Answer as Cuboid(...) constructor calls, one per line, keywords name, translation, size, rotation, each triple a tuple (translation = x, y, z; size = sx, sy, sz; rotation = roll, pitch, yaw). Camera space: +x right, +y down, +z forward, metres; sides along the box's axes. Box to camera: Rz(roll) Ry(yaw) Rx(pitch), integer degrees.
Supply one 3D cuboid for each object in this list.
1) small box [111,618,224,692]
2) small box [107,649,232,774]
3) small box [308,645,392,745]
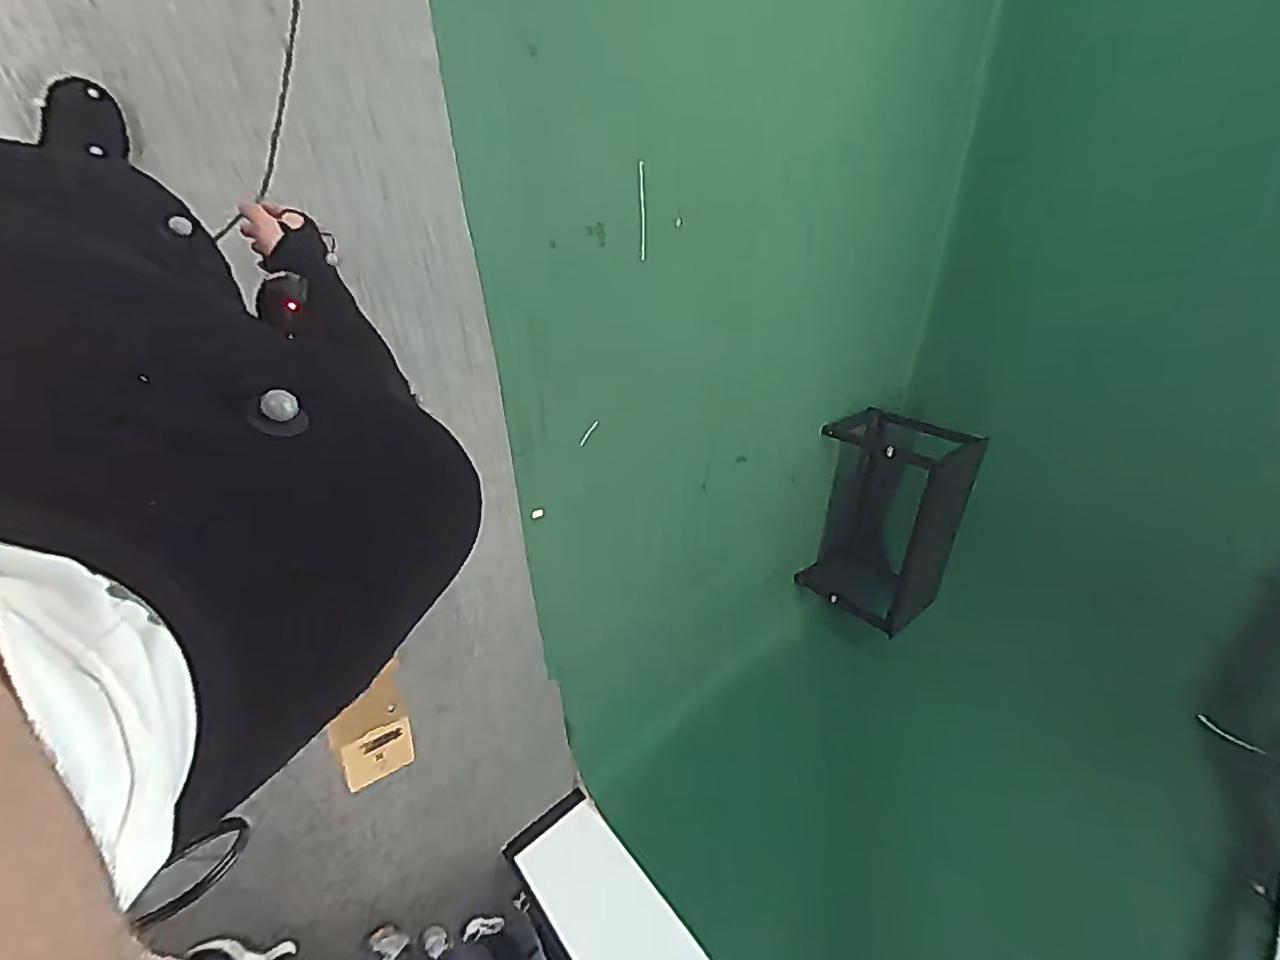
Cuboid(name="small box", translation=(-1.221, 0.490, 1.397), size=(0.179, 0.176, 0.168), rotation=(-24, 126, -34))
Cuboid(name="small box", translation=(-1.115, 0.542, 1.286), size=(0.179, 0.176, 0.168), rotation=(-25, 127, -35))
Cuboid(name="small box", translation=(-0.849, 0.619, 1.579), size=(0.179, 0.176, 0.168), rotation=(-17, 123, -38))
